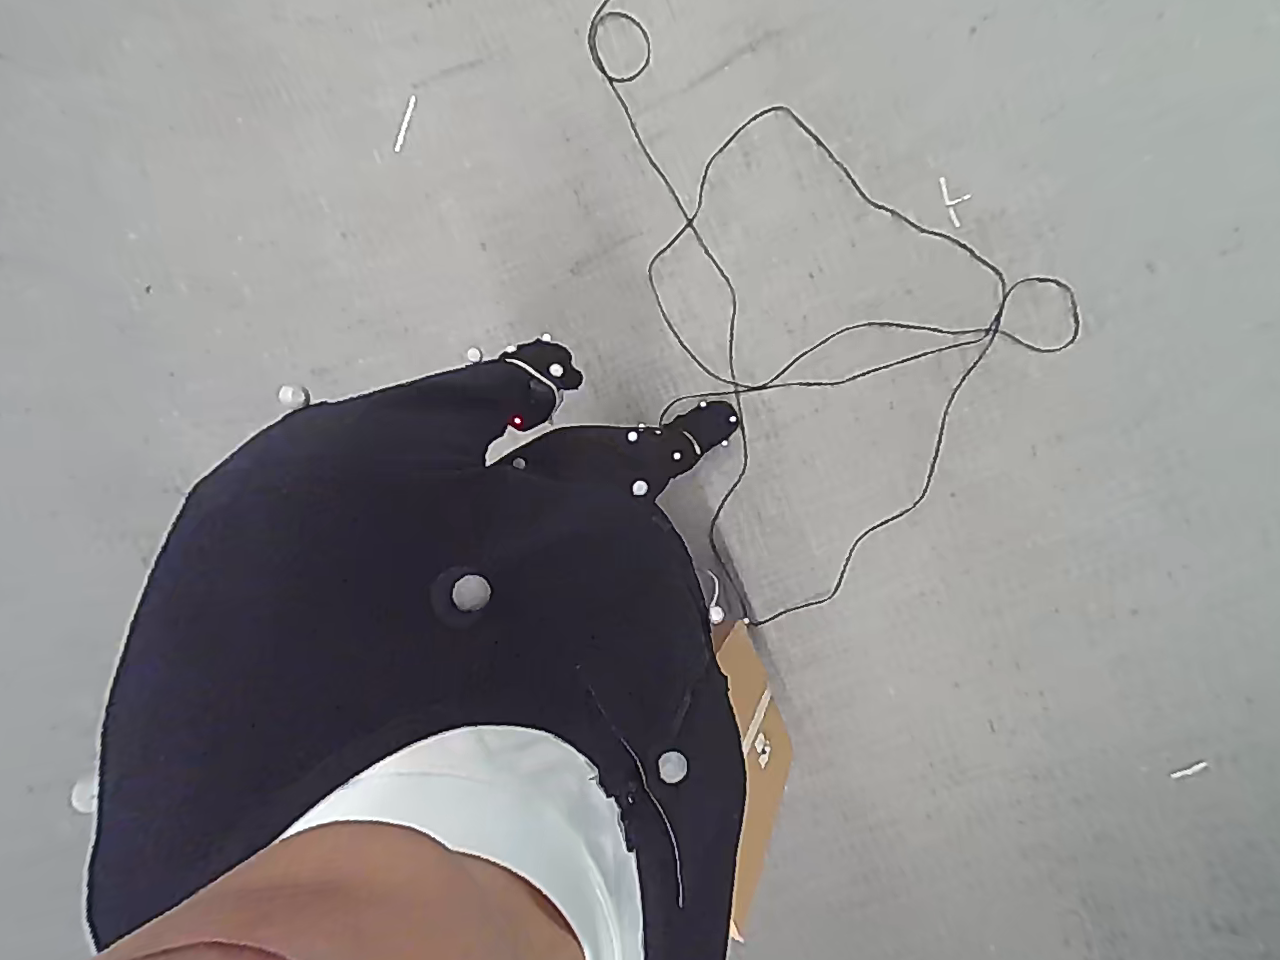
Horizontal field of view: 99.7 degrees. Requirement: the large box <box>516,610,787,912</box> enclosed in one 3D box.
[{"bbox_3d":[0.045,0.495,1.020,0.320,0.408,0.320,-19,93,28],"label":"large box"}]
